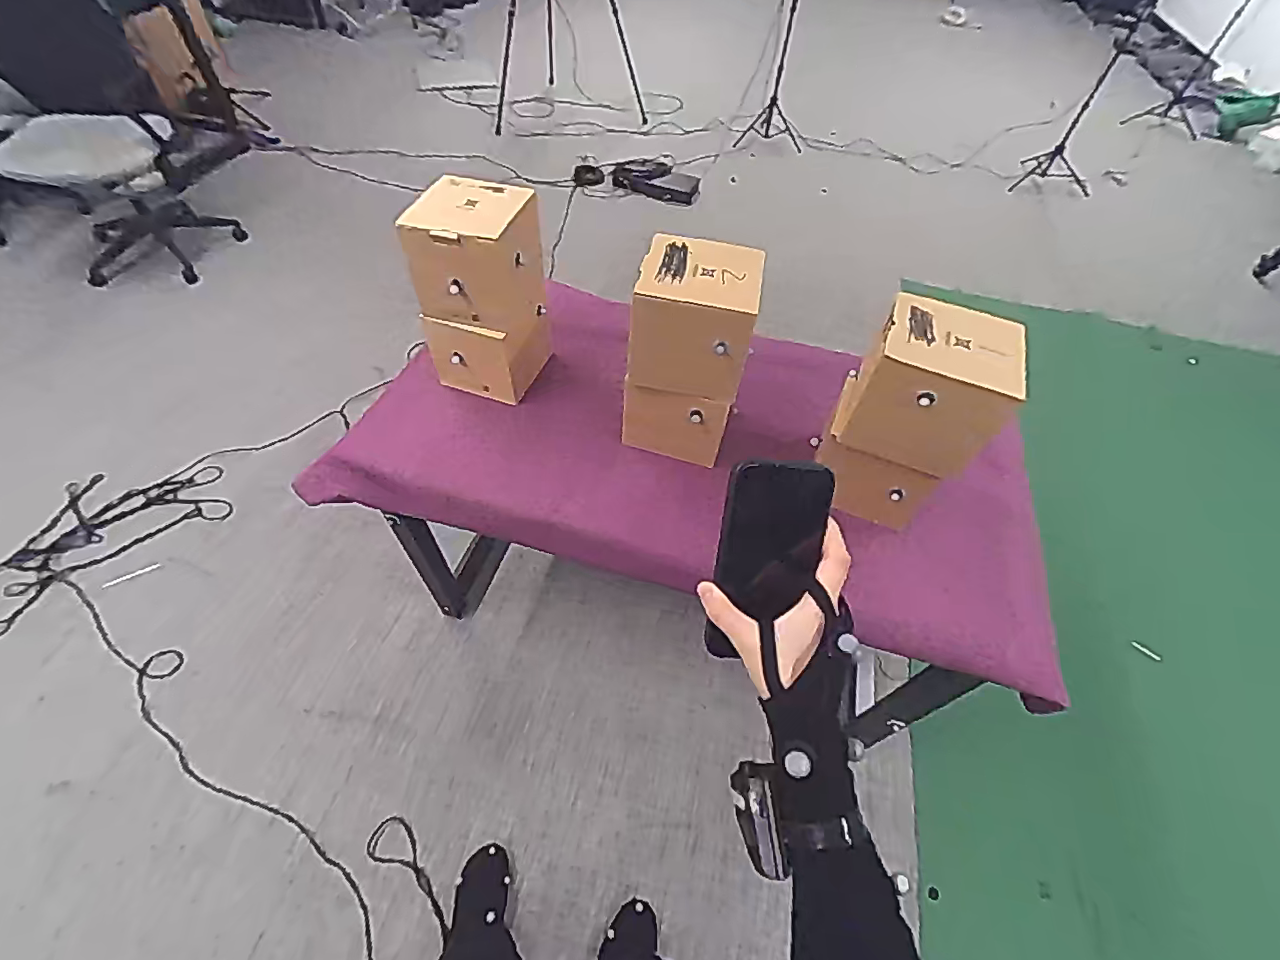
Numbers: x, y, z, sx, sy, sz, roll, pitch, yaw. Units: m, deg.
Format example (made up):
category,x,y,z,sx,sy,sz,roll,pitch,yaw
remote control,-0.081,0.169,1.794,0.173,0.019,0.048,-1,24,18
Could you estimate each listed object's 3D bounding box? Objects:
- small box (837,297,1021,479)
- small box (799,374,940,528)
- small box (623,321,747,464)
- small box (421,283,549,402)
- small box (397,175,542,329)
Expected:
category,x,y,z,sx,sy,sz,roll,pitch,yaw
small box,0.406,-0.128,0.777,0.179,0.176,0.168,22,54,12
small box,0.394,-0.043,0.918,0.179,0.176,0.168,22,54,13
small box,0.077,-0.153,0.977,0.179,0.176,0.168,17,54,9
small box,-0.286,-0.280,1.050,0.168,0.176,0.179,17,54,9
small box,-0.274,-0.385,0.924,0.168,0.176,0.179,14,54,6
